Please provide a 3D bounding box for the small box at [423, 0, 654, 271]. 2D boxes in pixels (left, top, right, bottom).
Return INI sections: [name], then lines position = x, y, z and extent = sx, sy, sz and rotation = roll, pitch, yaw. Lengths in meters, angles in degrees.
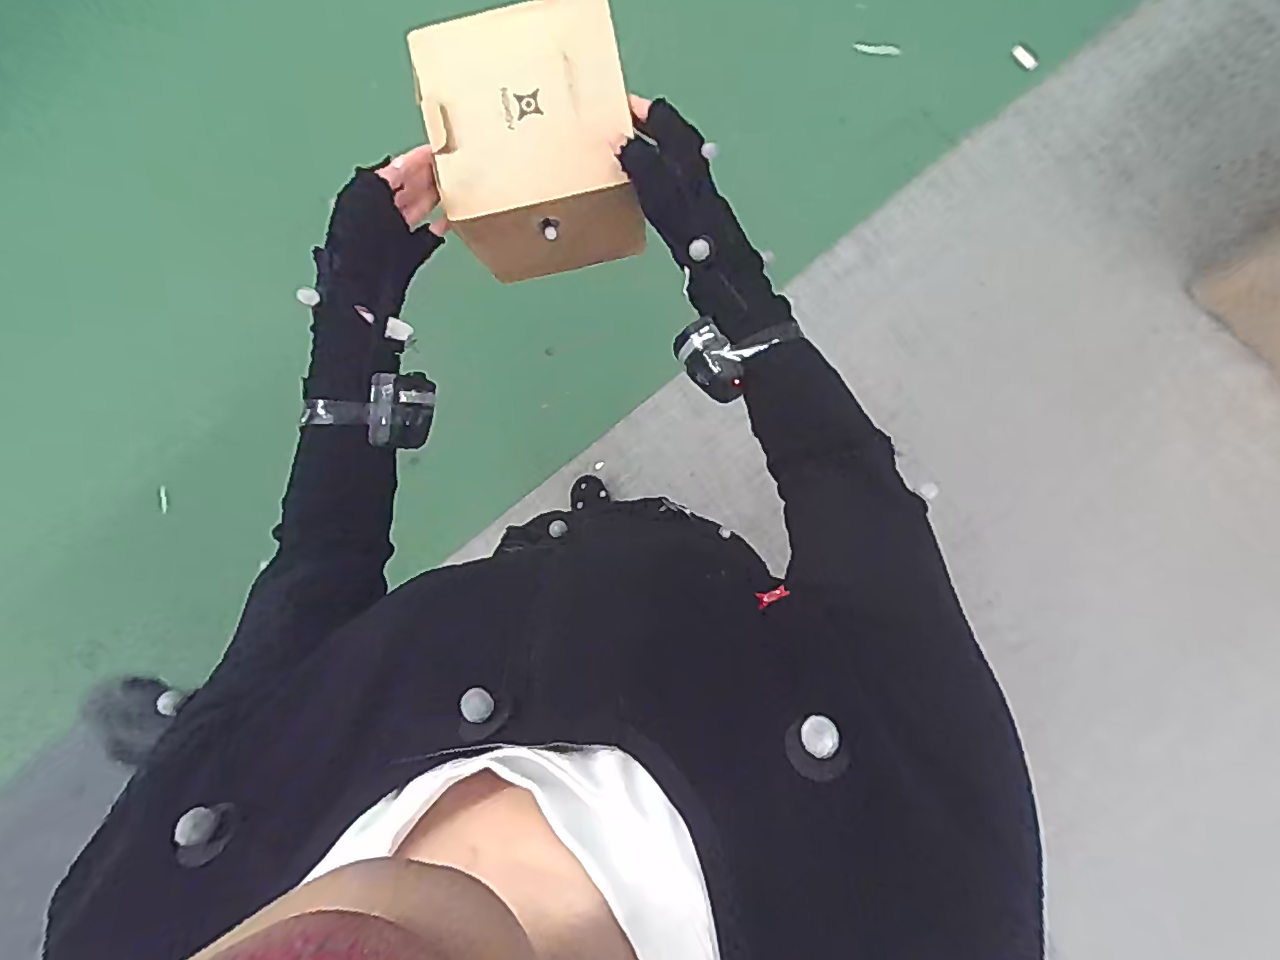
[small box]
position = -0.085, -0.327, 0.539
extent = 0.179, 0.176, 0.168
rotation = -11, 93, 1
